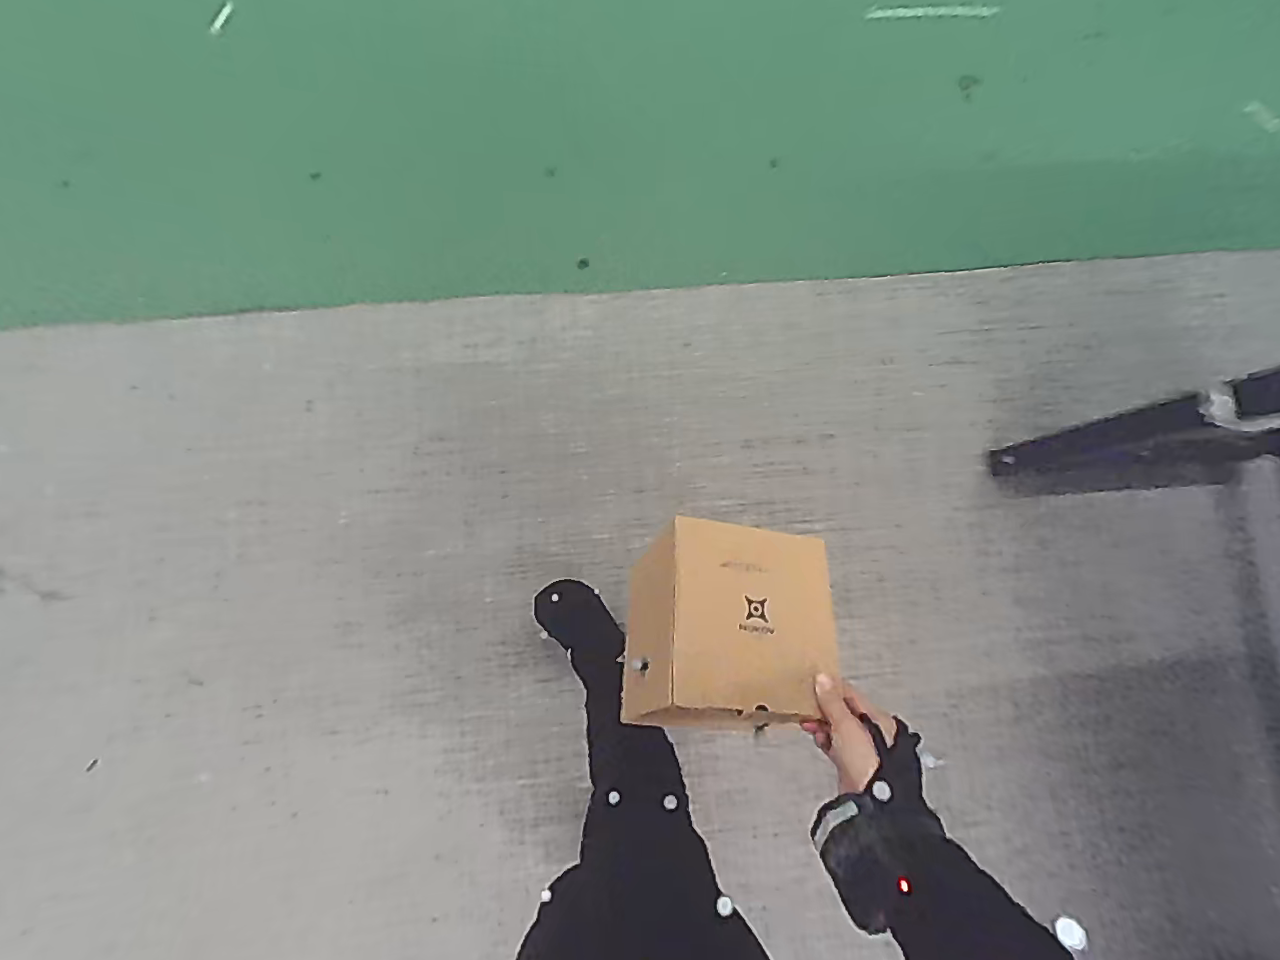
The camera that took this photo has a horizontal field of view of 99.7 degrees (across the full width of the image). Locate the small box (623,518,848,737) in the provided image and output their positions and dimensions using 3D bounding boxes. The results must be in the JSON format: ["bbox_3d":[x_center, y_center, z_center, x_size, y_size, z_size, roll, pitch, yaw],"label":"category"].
[{"bbox_3d":[0.085,0.162,0.558,0.168,0.176,0.179,12,60,-15],"label":"small box"}]
